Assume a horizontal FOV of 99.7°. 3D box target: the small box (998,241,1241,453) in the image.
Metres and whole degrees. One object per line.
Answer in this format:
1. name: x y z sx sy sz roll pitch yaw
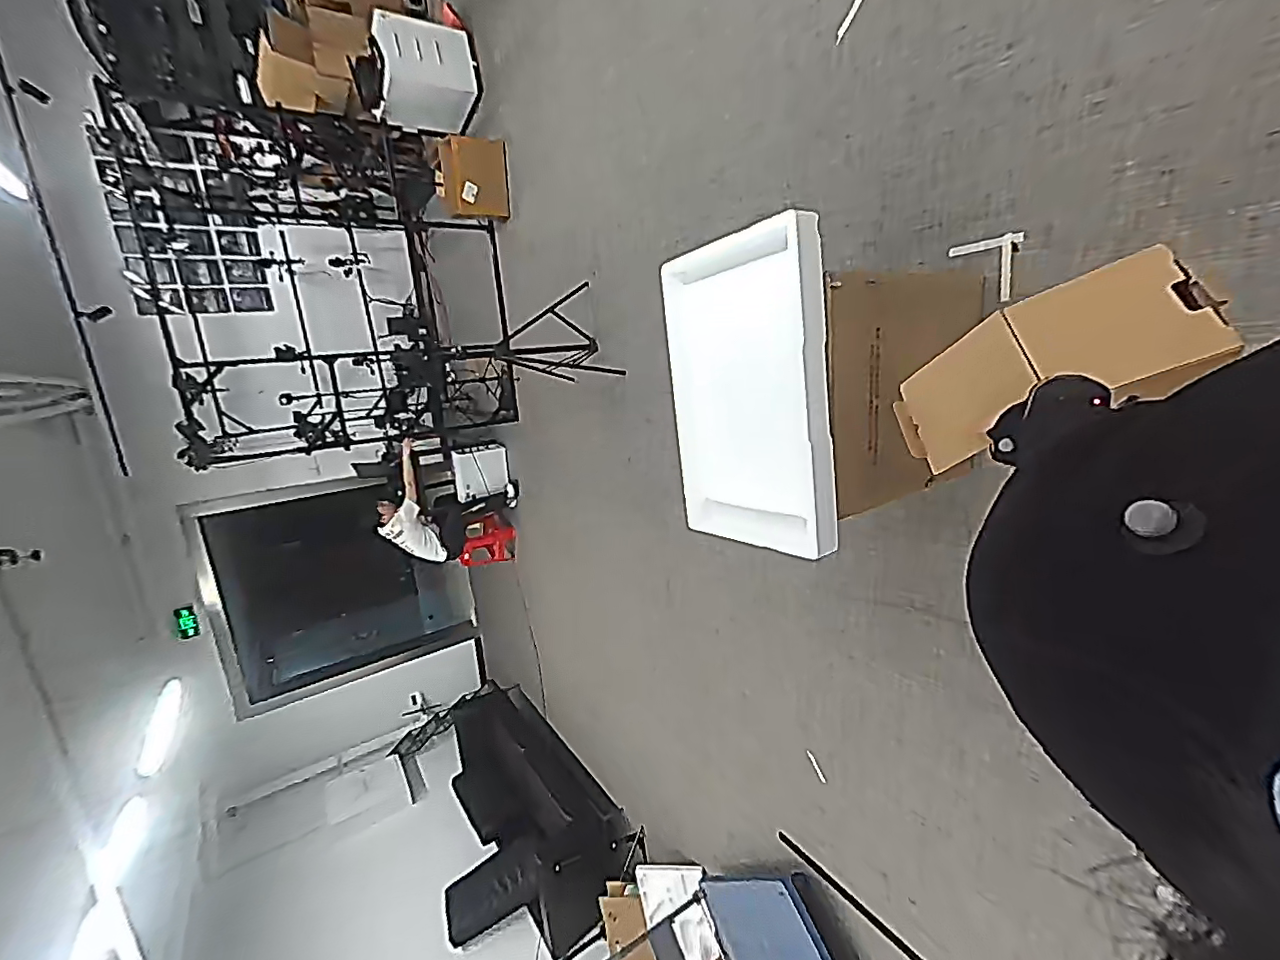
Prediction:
1. small box: 0.596 -0.156 0.698 0.179 0.176 0.168 -22 59 27
